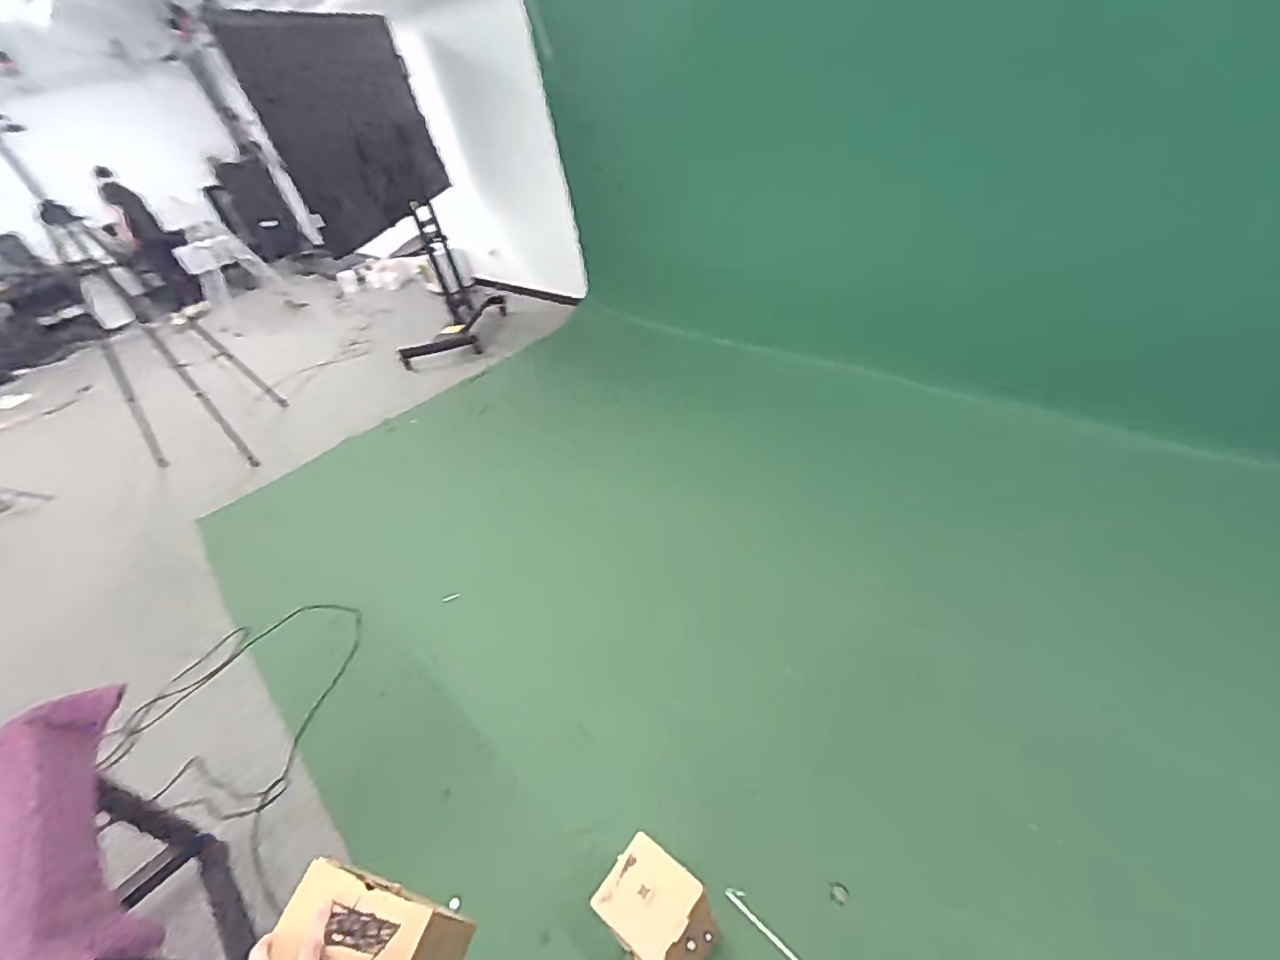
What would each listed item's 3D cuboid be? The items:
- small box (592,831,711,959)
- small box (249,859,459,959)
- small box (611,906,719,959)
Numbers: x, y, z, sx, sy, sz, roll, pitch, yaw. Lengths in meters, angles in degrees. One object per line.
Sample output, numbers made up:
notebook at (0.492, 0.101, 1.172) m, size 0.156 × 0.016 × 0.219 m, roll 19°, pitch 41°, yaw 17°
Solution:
small box at (0.032, 0.891, 1.128) m, size 0.179 × 0.176 × 0.168 m, roll 23°, pitch 50°, yaw 37°
small box at (-0.332, 0.577, 0.620) m, size 0.168 × 0.176 × 0.179 m, roll 10°, pitch 50°, yaw 16°
small box at (0.065, 1.018, 1.226) m, size 0.168 × 0.176 × 0.179 m, roll 24°, pitch 51°, yaw 38°
